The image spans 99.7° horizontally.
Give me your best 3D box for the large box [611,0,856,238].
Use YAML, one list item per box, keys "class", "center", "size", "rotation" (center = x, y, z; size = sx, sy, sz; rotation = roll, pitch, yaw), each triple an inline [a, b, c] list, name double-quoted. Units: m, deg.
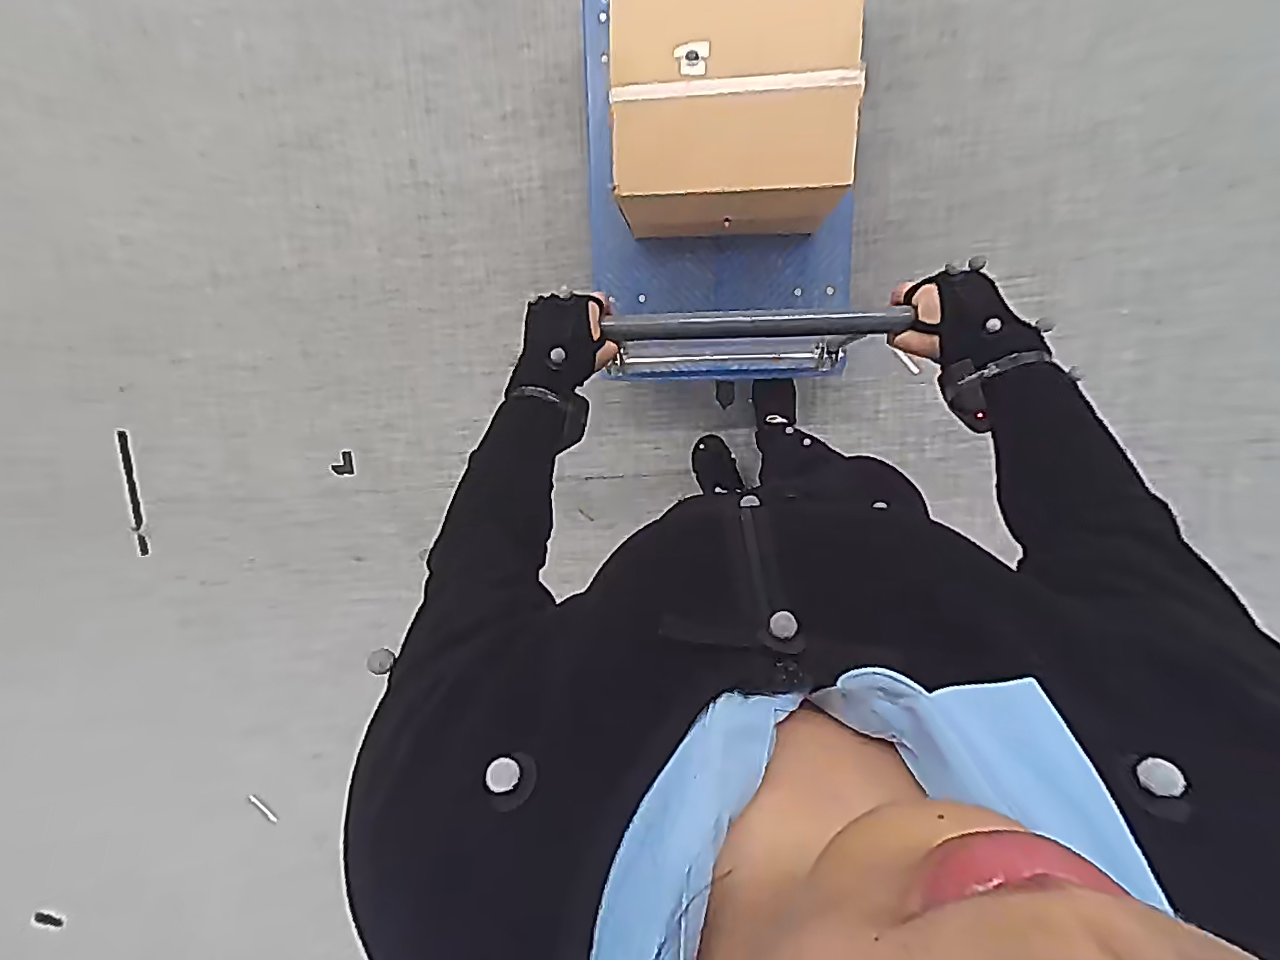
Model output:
- class: "large box"
  center: [0.171, -0.676, 1.048]
  size: [0.408, 0.320, 0.320]
  rotation: [0, 100, 7]
